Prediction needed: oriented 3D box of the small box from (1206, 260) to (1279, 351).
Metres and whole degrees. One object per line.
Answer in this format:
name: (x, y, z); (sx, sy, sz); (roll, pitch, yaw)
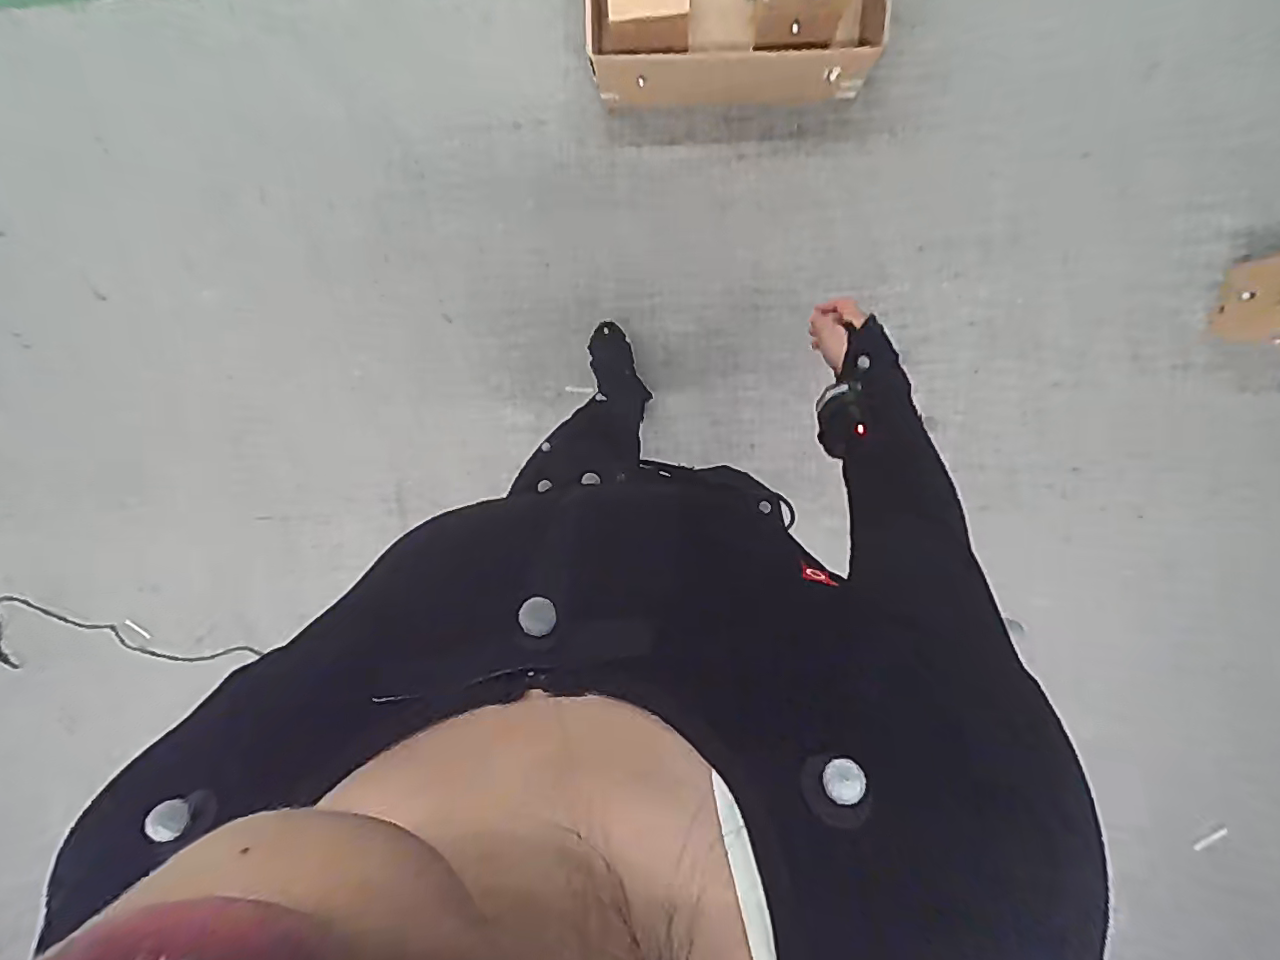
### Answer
small box: (1.452, -0.388, 1.212); (0.179, 0.176, 0.168); (11, 100, 2)

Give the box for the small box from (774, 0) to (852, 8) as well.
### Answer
small box: (0.328, -0.992, 0.956); (0.168, 0.176, 0.179); (0, 101, 5)
